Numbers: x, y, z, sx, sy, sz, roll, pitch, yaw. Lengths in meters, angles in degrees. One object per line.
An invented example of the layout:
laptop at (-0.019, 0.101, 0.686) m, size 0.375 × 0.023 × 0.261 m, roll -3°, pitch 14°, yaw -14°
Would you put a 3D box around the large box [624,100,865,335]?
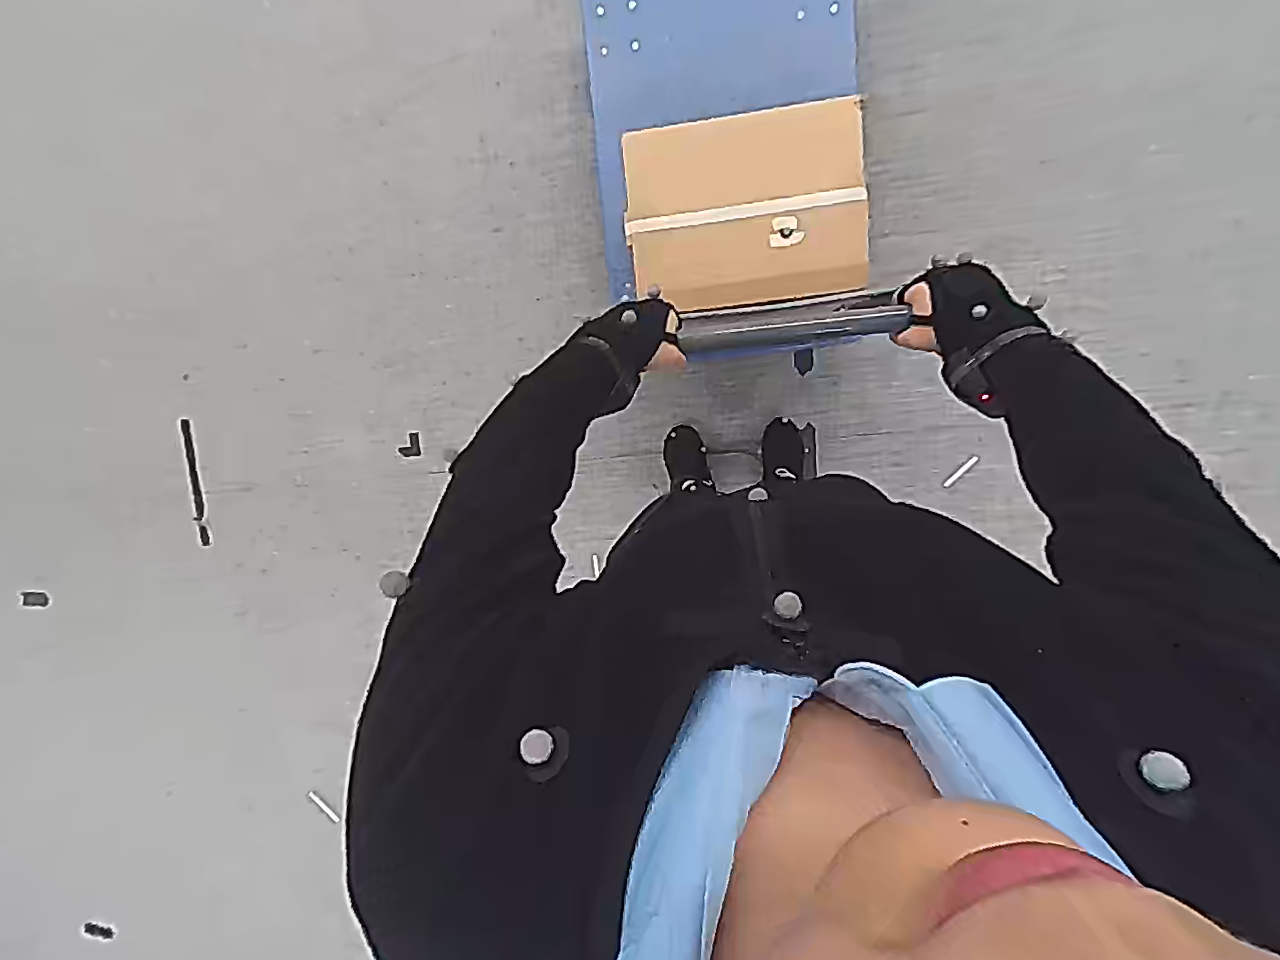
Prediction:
large box at (0.197, -0.493, 1.101) m, size 0.408 × 0.320 × 0.320 m, roll -5°, pitch 99°, yaw 6°
